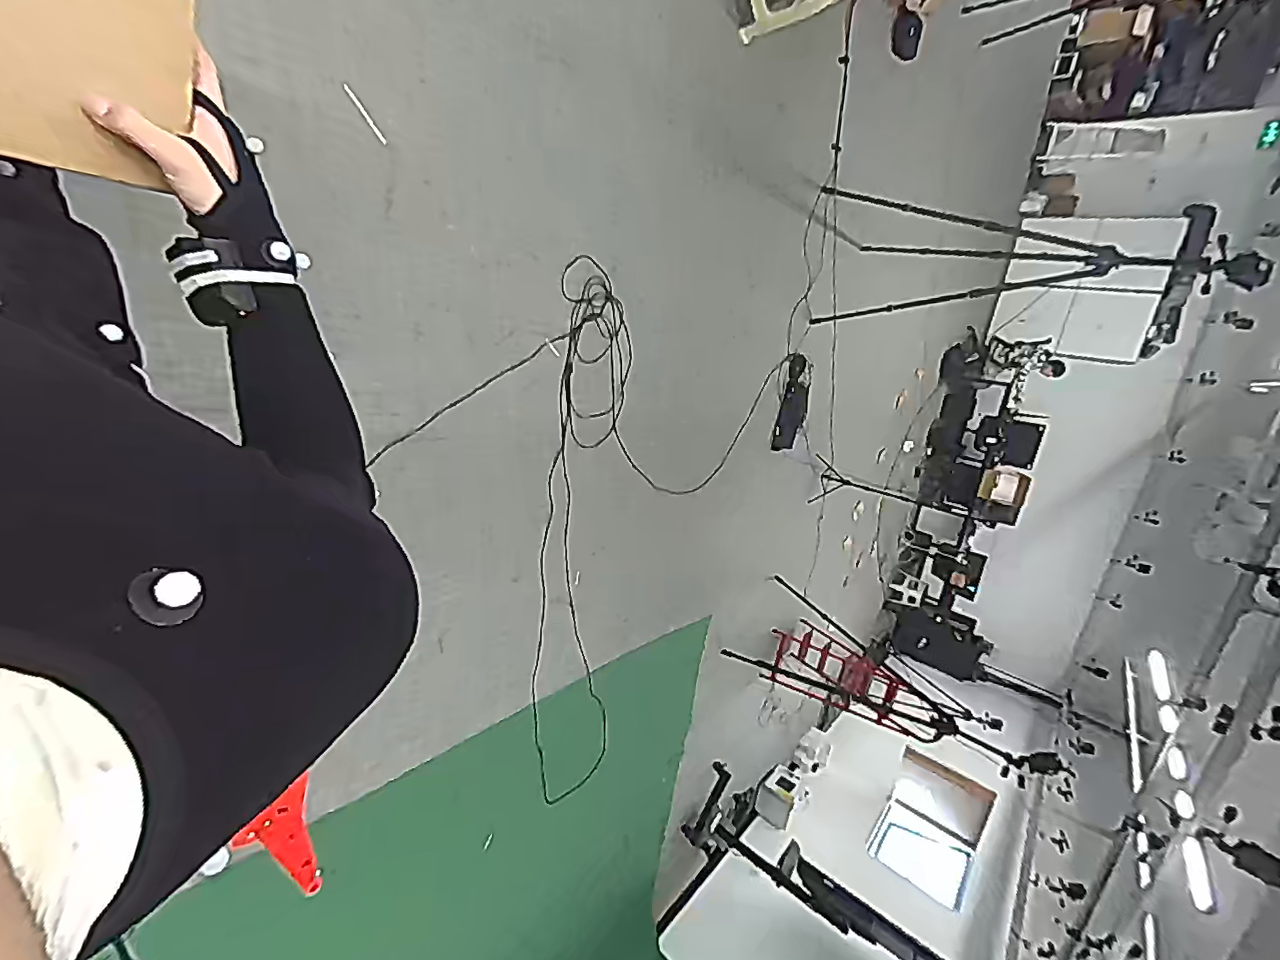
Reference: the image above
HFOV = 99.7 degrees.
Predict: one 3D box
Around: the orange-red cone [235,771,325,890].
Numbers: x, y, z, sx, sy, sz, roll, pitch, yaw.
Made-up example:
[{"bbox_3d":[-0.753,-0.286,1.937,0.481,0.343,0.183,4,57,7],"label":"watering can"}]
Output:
[{"bbox_3d":[-1.049,1.100,1.642,0.199,0.360,0.198,1,107,-53],"label":"orange-red cone"}]
